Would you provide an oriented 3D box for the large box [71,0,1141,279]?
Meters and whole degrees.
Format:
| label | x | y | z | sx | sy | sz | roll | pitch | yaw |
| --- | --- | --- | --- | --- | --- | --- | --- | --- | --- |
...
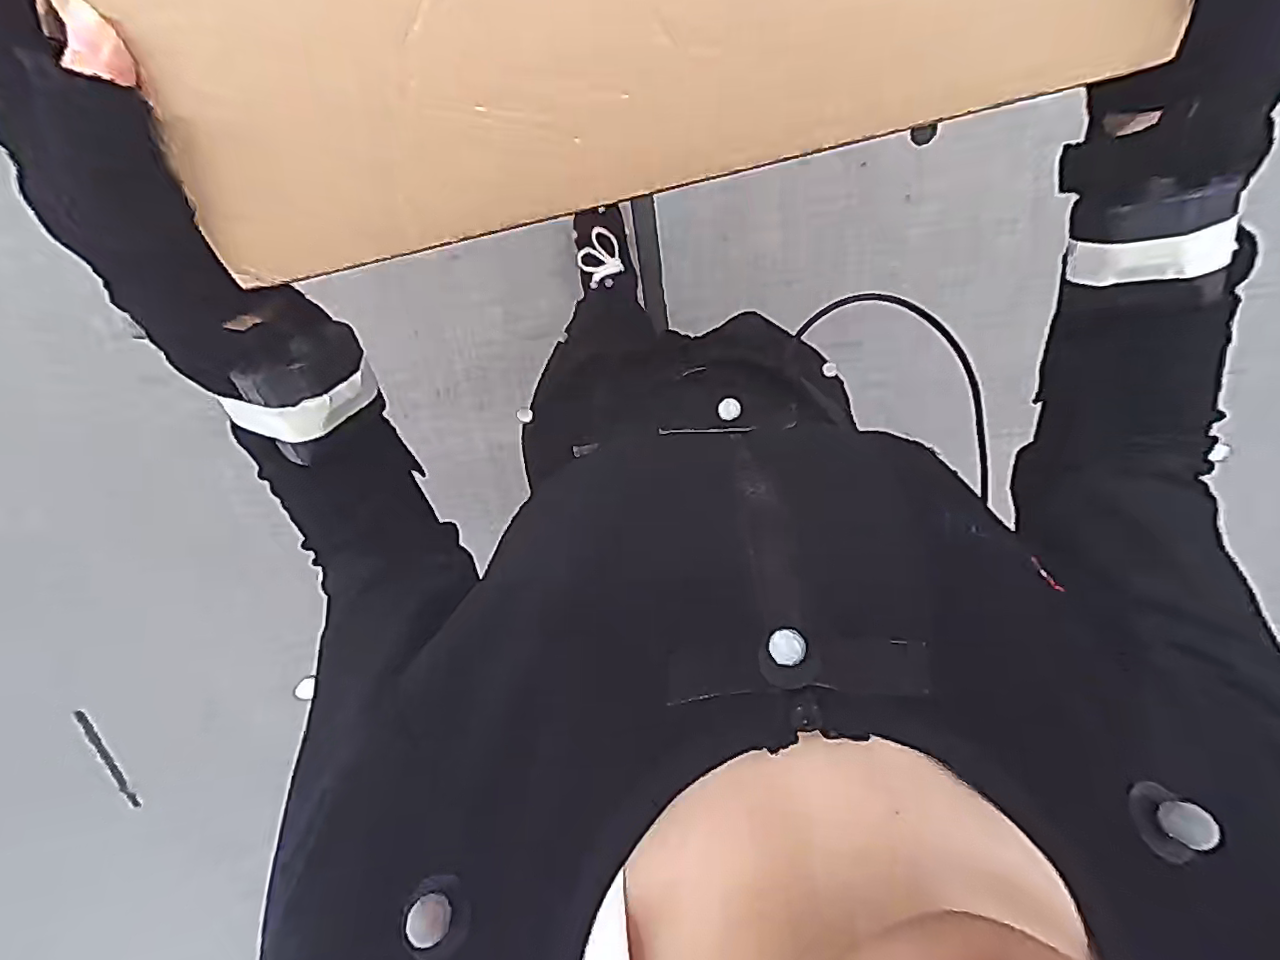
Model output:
| label | x | y | z | sx | sy | sz | roll | pitch | yaw |
| --- | --- | --- | --- | --- | --- | --- | --- | --- | --- |
| large box | -0.030 | -0.343 | 0.269 | 0.408 | 0.320 | 0.320 | -13 | 125 | 3 |
